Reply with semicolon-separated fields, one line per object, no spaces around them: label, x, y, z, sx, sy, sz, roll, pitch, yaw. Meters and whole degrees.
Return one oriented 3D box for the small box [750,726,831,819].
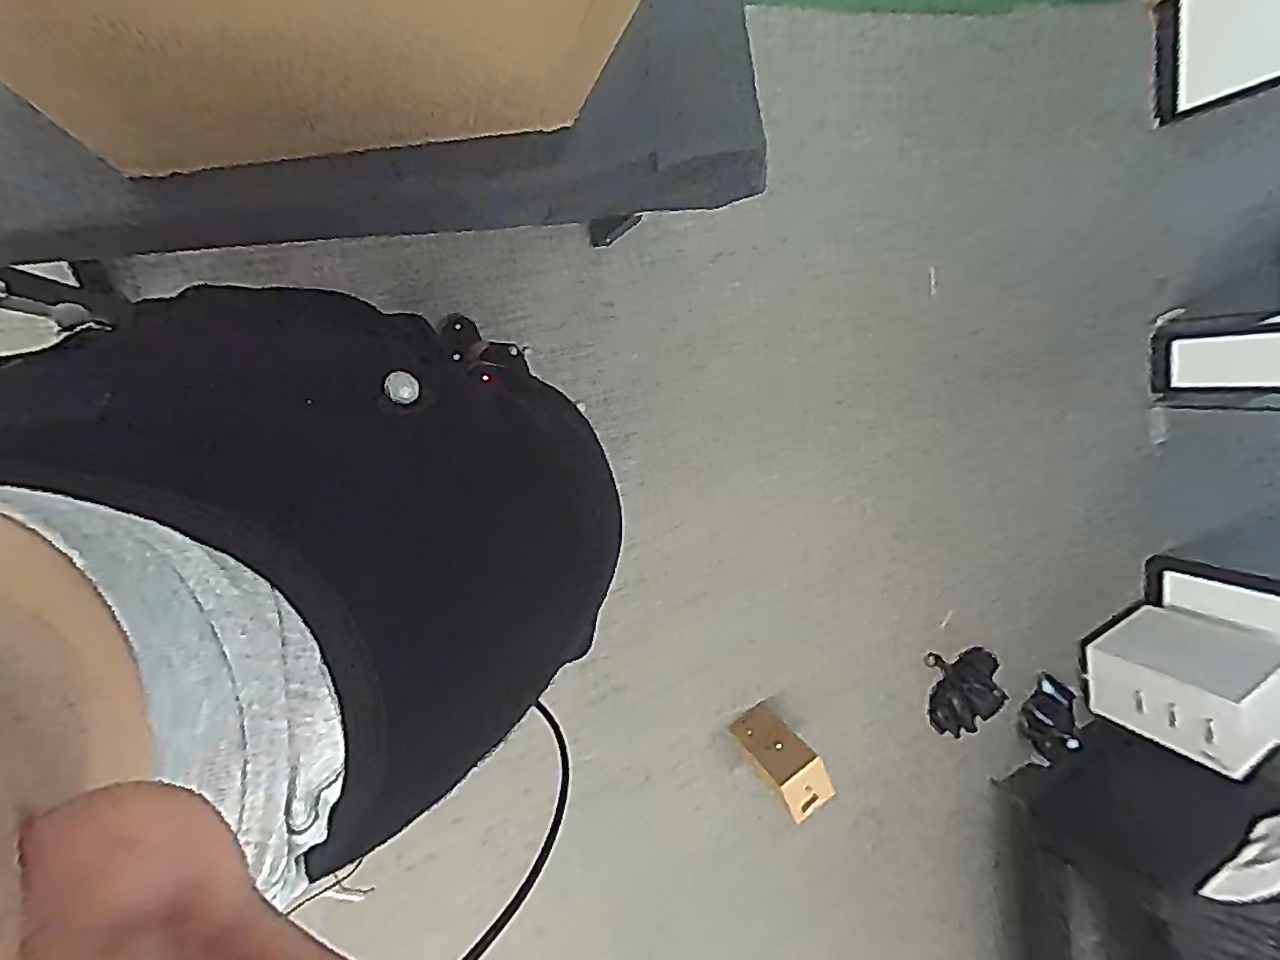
small box;0.497;0.968;1.805;0.168;0.176;0.179;-30;108;-16

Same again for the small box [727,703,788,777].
small box;0.441;0.943;1.958;0.168;0.176;0.179;-31;111;-15
